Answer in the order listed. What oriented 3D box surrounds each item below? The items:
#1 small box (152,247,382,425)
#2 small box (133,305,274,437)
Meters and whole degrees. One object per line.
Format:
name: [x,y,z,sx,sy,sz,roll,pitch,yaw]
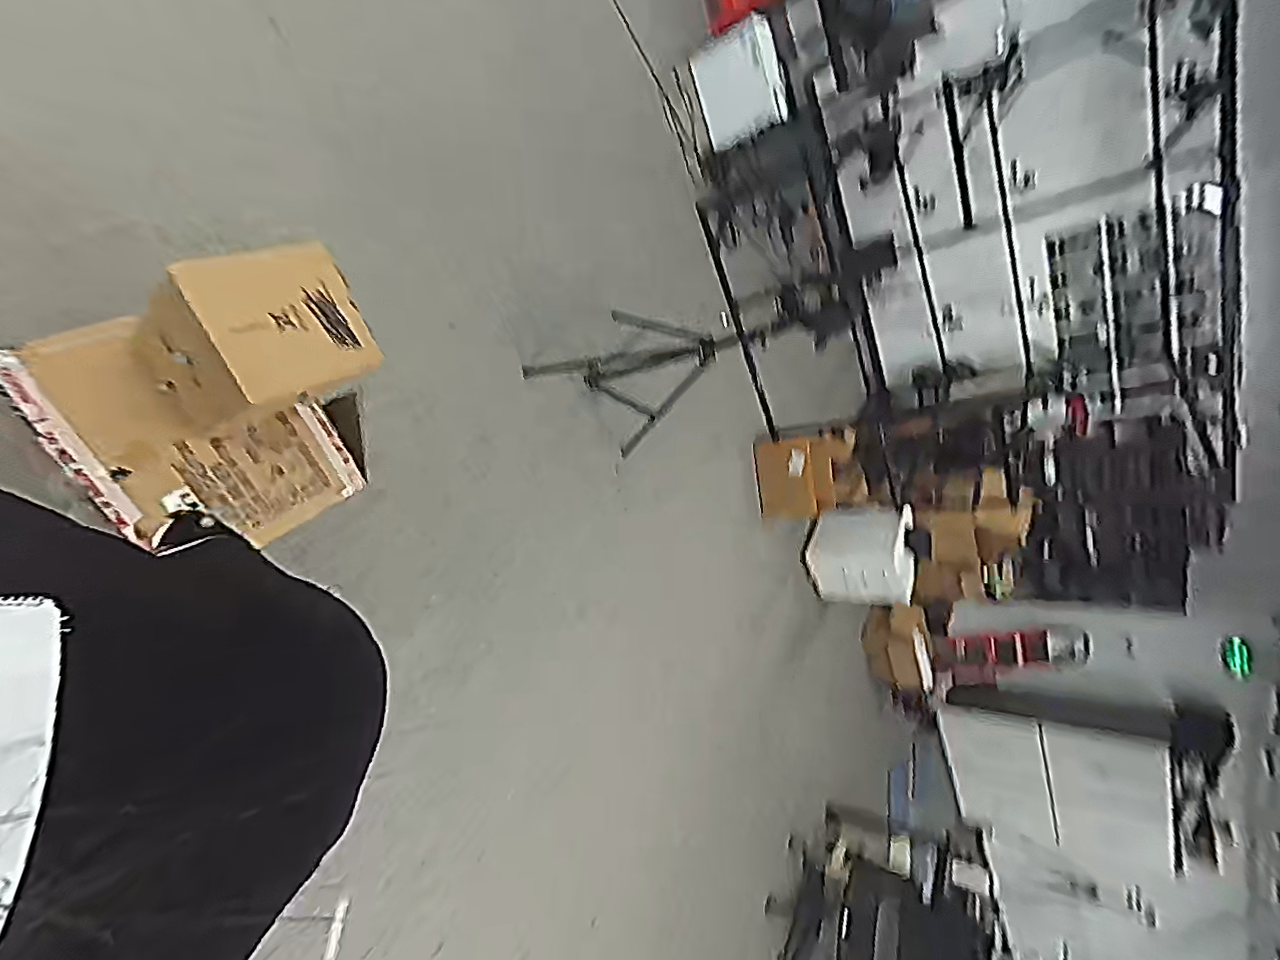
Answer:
small box: [-0.487,-0.186,0.711,0.179,0.176,0.168,-37,112,-43]
small box: [-0.611,-0.180,0.819,0.179,0.176,0.168,-42,115,-42]
